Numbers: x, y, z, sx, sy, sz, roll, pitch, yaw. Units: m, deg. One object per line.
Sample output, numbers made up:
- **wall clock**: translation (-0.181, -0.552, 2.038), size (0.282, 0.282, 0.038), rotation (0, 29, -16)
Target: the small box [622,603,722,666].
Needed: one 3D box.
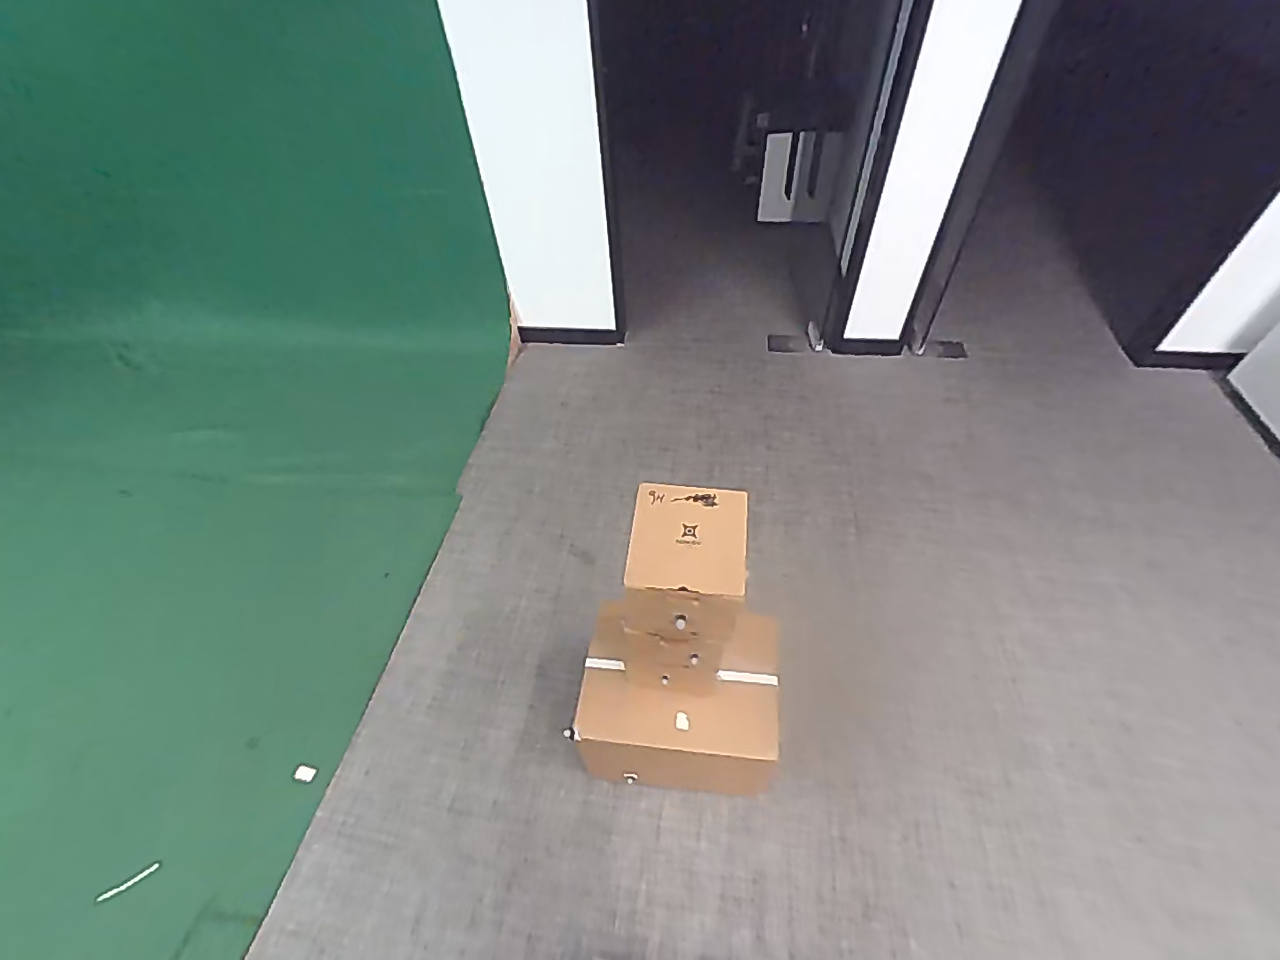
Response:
- **small box**: translation (0.066, 0.222, 0.977), size (0.168, 0.176, 0.179), rotation (4, 54, 6)

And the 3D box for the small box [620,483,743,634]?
- **small box**: translation (0.069, 0.127, 0.844), size (0.168, 0.176, 0.179), rotation (5, 56, 7)

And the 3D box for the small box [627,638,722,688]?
- **small box**: translation (0.074, 0.318, 1.107), size (0.179, 0.176, 0.168), rotation (4, 55, 6)
